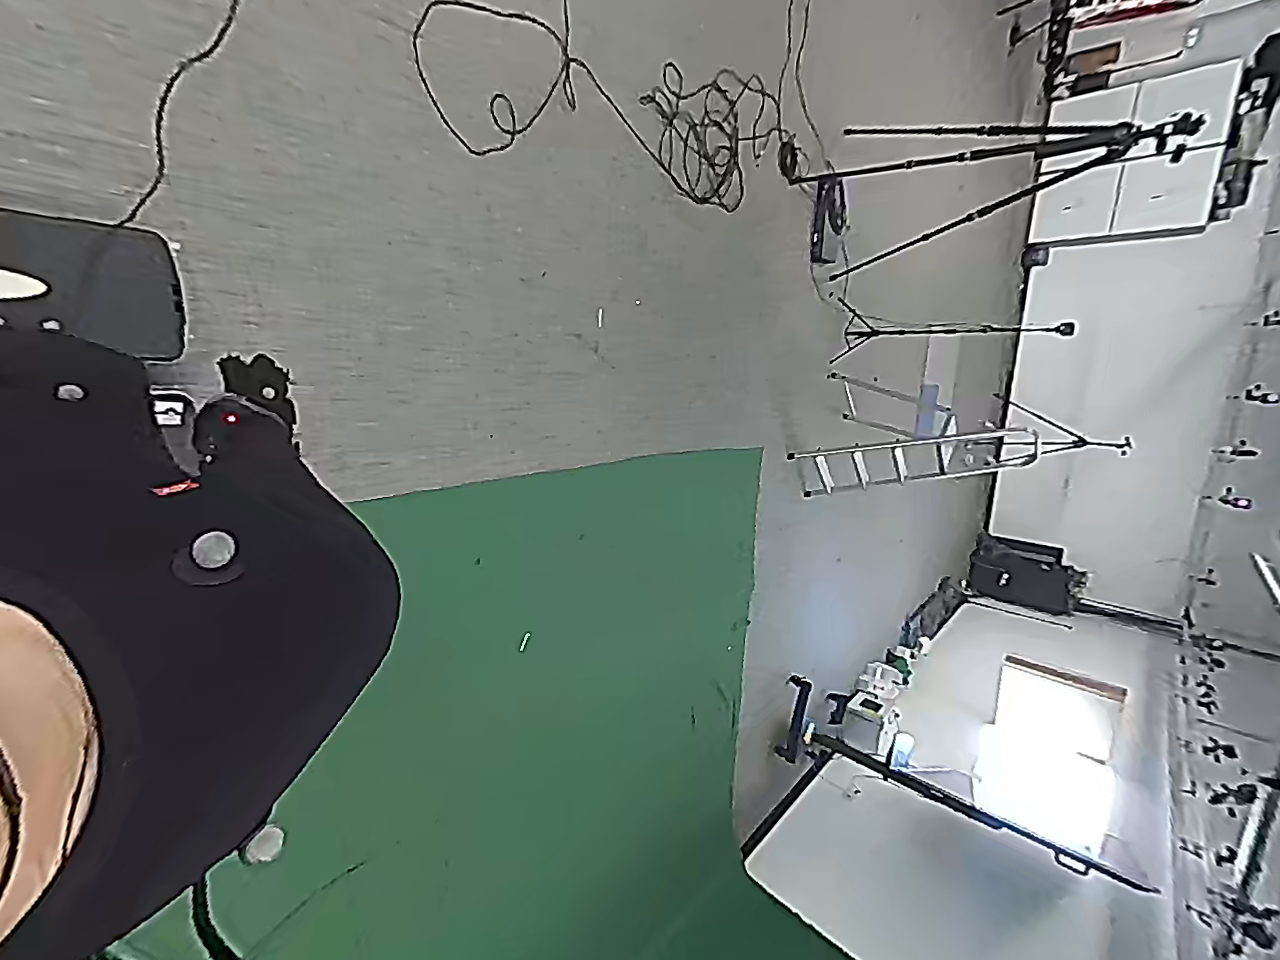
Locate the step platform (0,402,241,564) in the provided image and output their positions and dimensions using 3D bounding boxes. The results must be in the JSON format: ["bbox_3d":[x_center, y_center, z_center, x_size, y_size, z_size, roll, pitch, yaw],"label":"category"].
[{"bbox_3d":[-1.096,0.024,0.888,0.684,0.204,0.286,-11,107,-47],"label":"step platform"}]
